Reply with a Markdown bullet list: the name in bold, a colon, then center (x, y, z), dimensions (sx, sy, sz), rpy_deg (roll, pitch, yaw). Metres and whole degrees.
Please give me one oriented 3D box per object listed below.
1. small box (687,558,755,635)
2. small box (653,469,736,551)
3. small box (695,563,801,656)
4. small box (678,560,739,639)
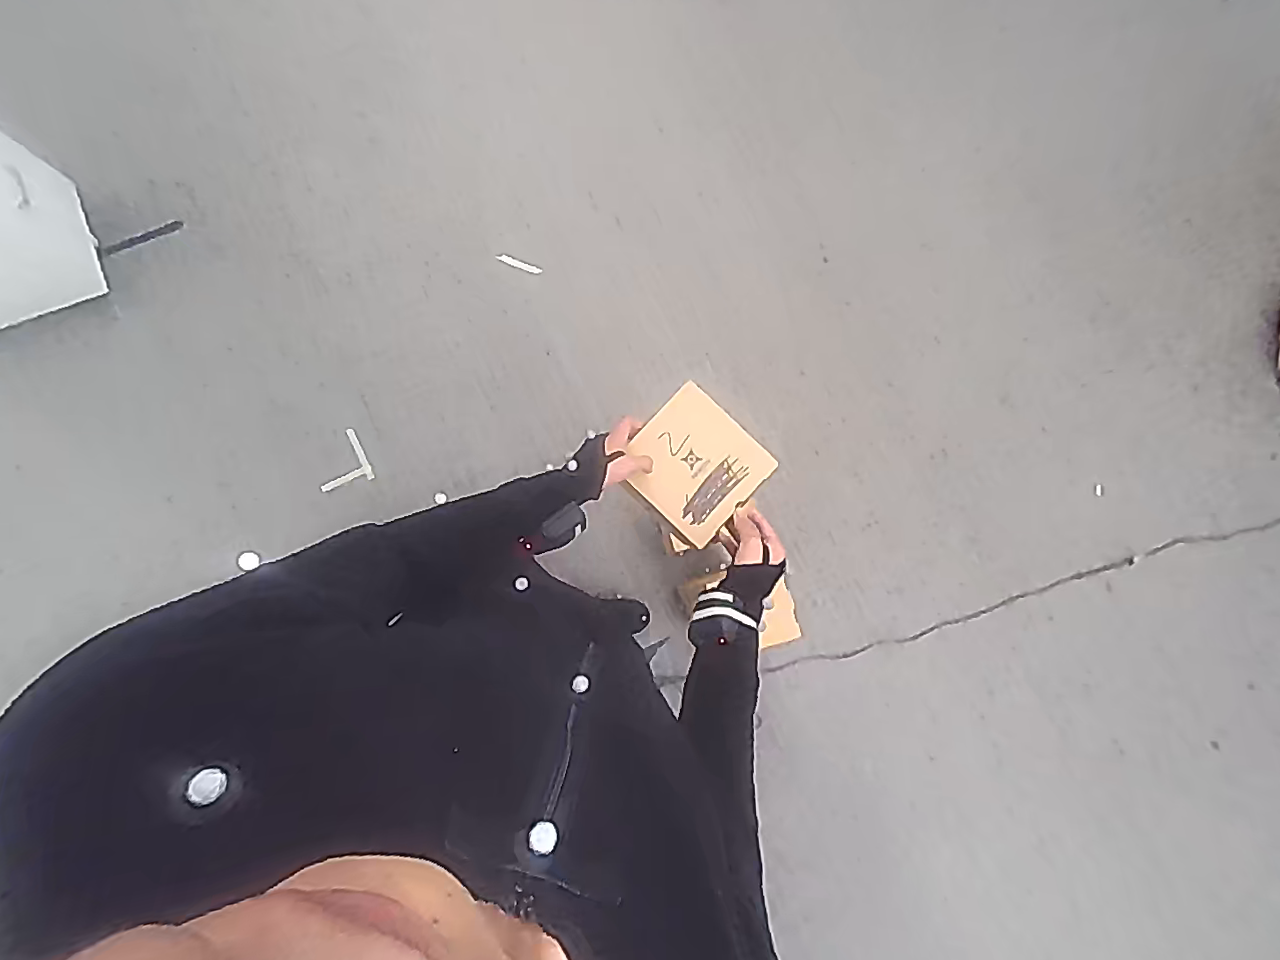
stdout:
- **small box**: center (0.235, 0.317, 1.414), dimensions (0.168, 0.176, 0.179), rpy_deg (-22, 83, -7)
- **small box**: center (0.139, 0.084, 1.439), dimensions (0.168, 0.176, 0.179), rpy_deg (-15, 82, -6)
- **small box**: center (0.242, 0.290, 1.252), dimensions (0.179, 0.176, 0.168), rpy_deg (-14, 82, -7)
- **small box**: center (0.226, 0.341, 1.574), dimensions (0.179, 0.176, 0.168), rpy_deg (-24, 82, -7)
